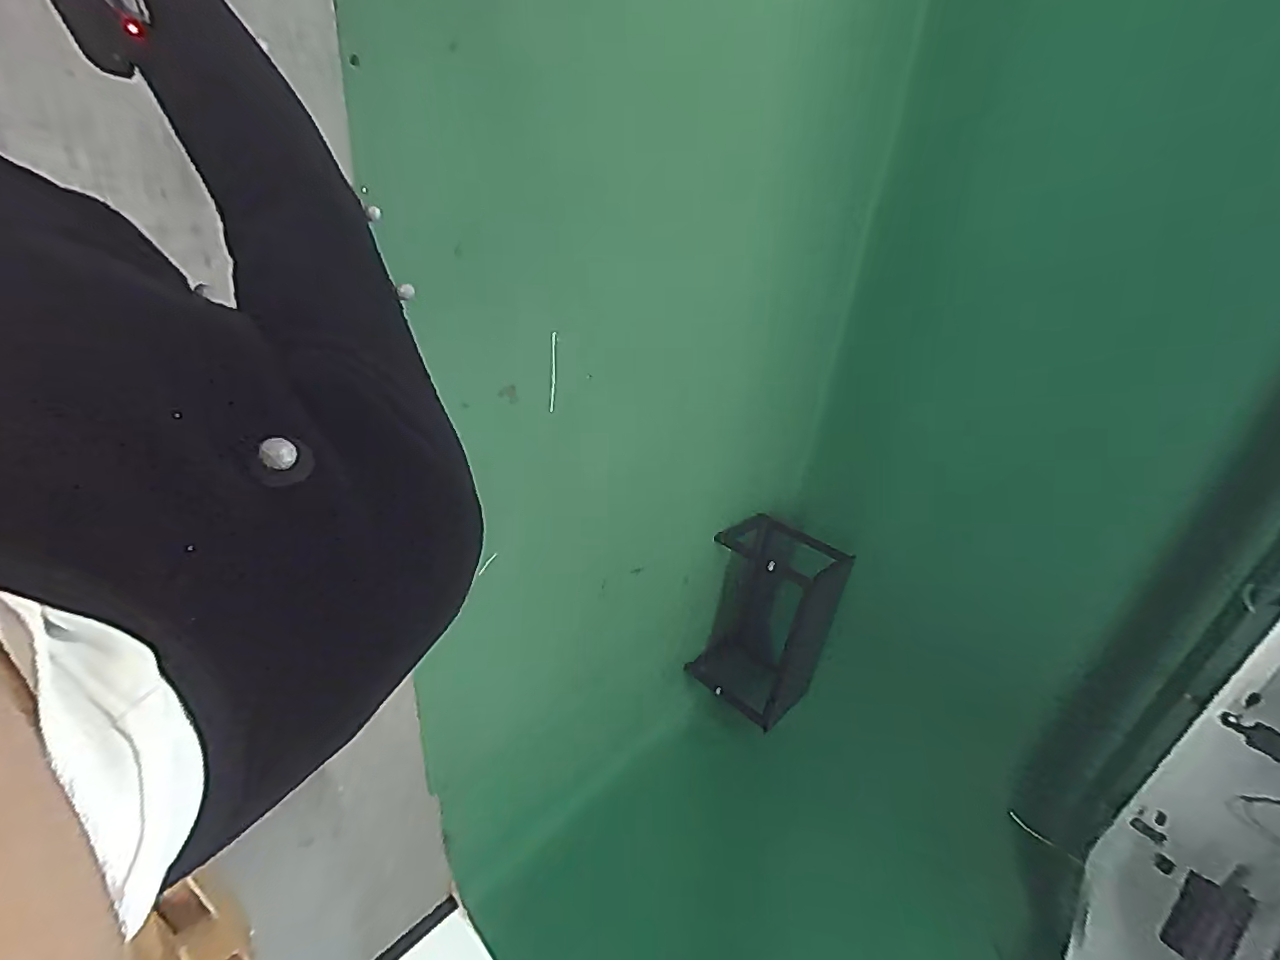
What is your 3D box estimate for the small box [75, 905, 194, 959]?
[{"bbox_3d":[-1.157,1.140,1.247,0.168,0.176,0.179,-24,131,-41],"label":"small box"}]
